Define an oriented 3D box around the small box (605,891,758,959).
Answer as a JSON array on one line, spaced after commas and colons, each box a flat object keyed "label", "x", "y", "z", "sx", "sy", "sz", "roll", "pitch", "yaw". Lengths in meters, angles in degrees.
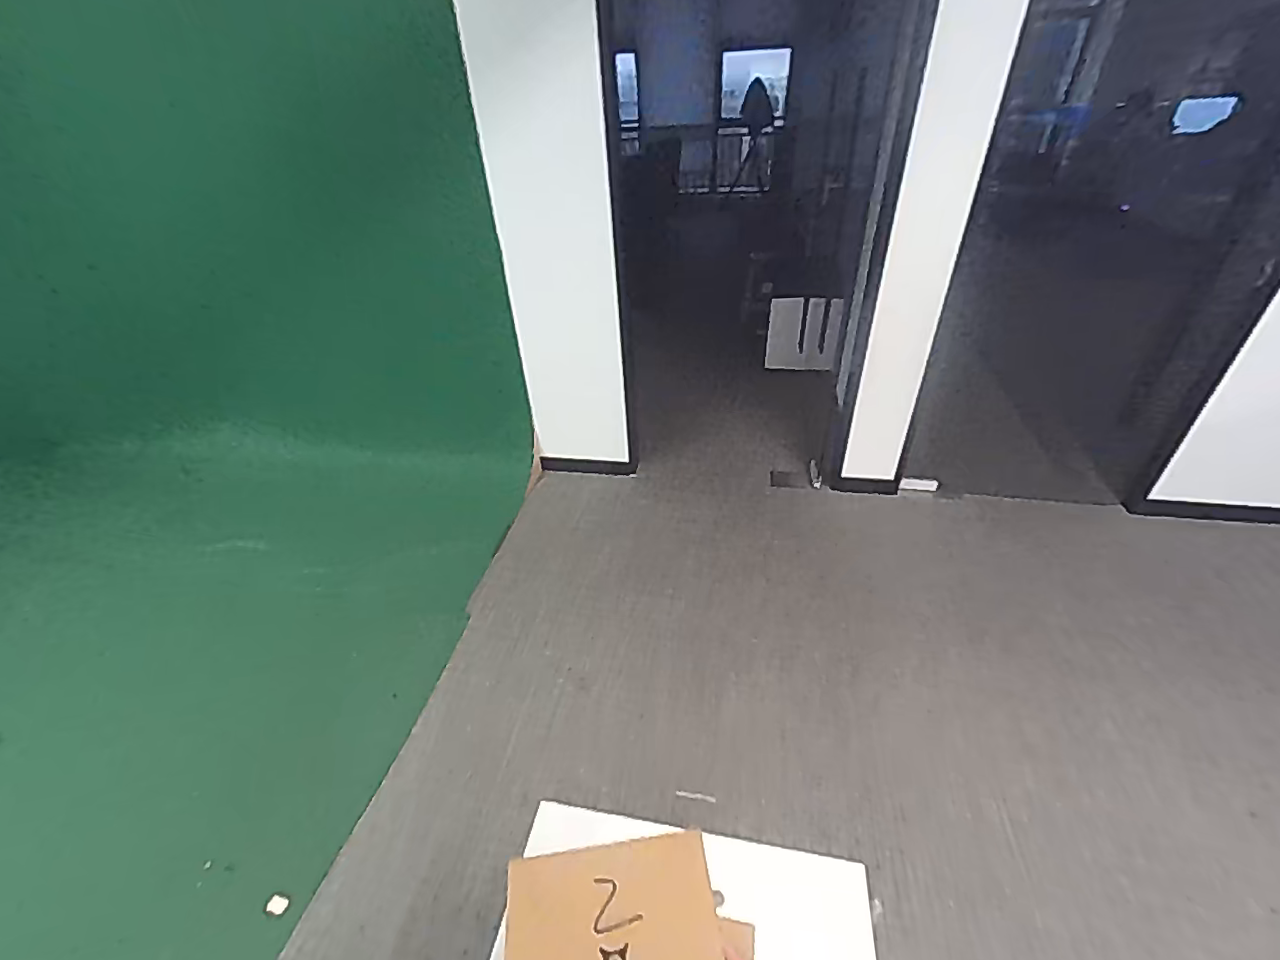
[{"label": "small box", "x": 0.038, "y": 0.606, "z": 0.598, "sx": 0.168, "sy": 0.176, "sz": 0.179, "roll": 4, "pitch": 35, "yaw": 11}]
